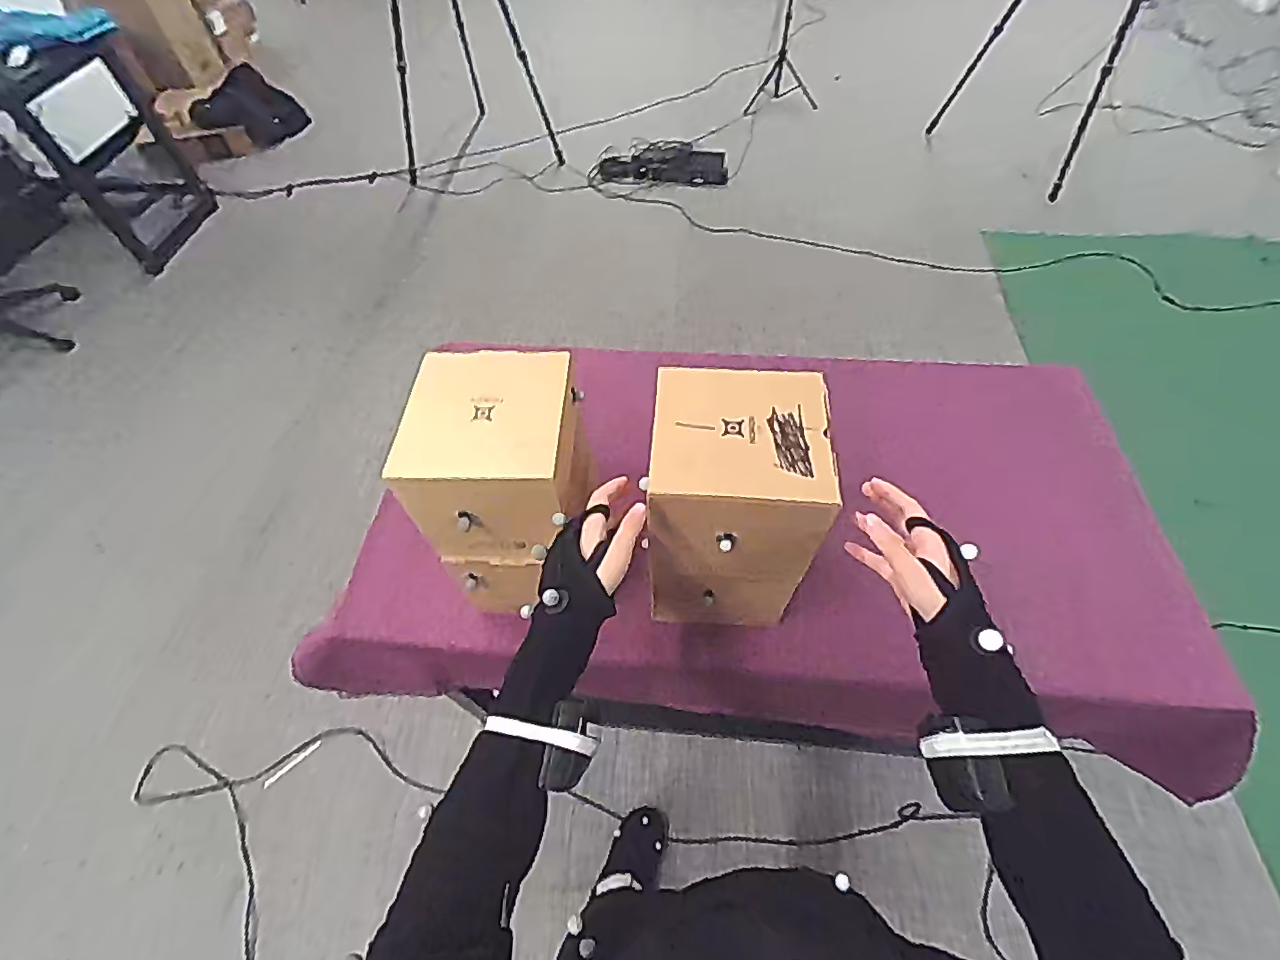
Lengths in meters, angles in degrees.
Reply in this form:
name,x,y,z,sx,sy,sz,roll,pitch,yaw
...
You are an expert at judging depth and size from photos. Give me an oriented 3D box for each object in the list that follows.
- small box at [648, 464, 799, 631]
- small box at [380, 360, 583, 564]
name,x,y,z,sx,sy,sz,roll,pitch,yaw
small box,0.105,0.095,0.729,0.179,0.176,0.168,2,55,4
small box,-0.160,-0.014,0.619,0.168,0.176,0.179,-1,53,2
